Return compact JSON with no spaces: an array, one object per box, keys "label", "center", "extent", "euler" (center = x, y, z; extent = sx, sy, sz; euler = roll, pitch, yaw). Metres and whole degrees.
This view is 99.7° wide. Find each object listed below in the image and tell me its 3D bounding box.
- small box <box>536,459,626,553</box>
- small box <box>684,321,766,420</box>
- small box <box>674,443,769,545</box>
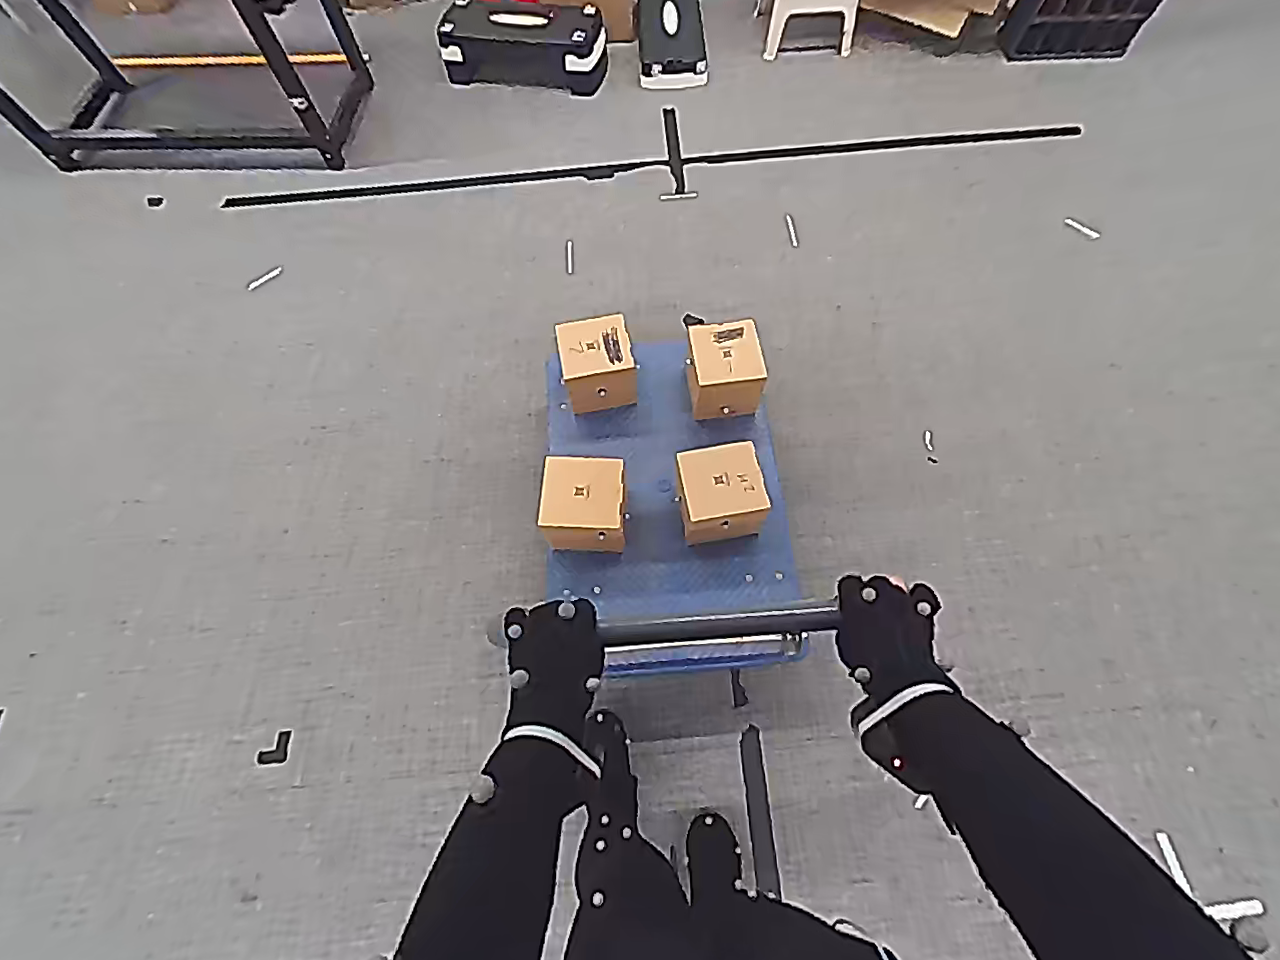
[{"label":"small box","center":[-0.126,0.064,1.228],"extent":[0.179,0.176,0.168],"euler":[2,66,1]},{"label":"small box","center":[0.206,-0.272,1.365],"extent":[0.168,0.176,0.179],"euler":[-7,67,-1]},{"label":"small box","center":[0.176,0.038,1.229],"extent":[0.179,0.176,0.168],"euler":[-10,66,-2]}]
